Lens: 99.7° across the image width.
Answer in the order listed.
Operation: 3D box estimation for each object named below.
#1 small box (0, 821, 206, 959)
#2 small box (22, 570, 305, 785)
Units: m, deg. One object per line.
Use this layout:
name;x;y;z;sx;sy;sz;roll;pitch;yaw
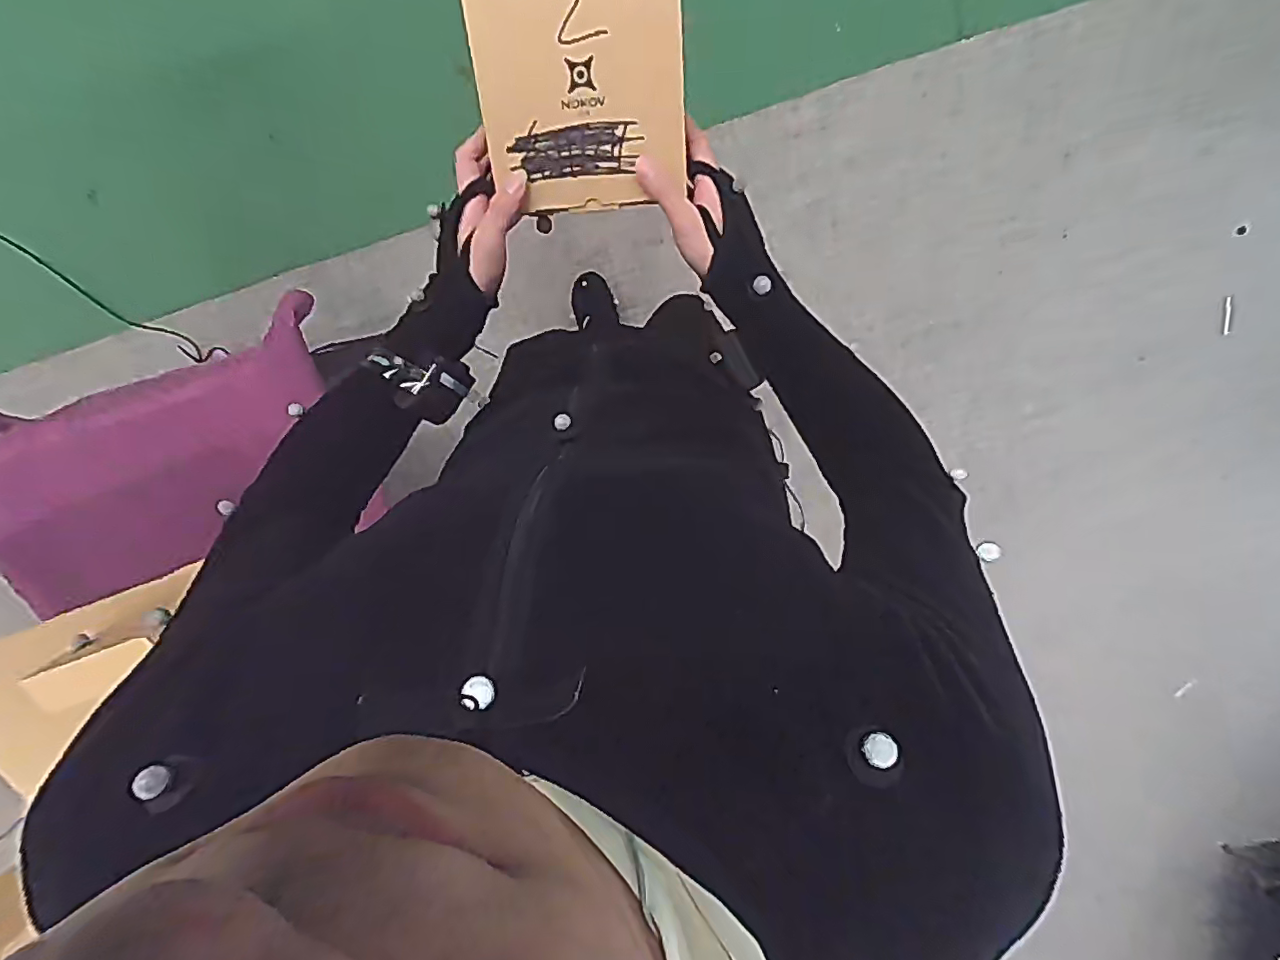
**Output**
small box;-0.668;0.539;0.618;0.179;0.176;0.168;-22;106;4
small box;-0.589;0.243;0.698;0.179;0.176;0.168;-20;108;4
